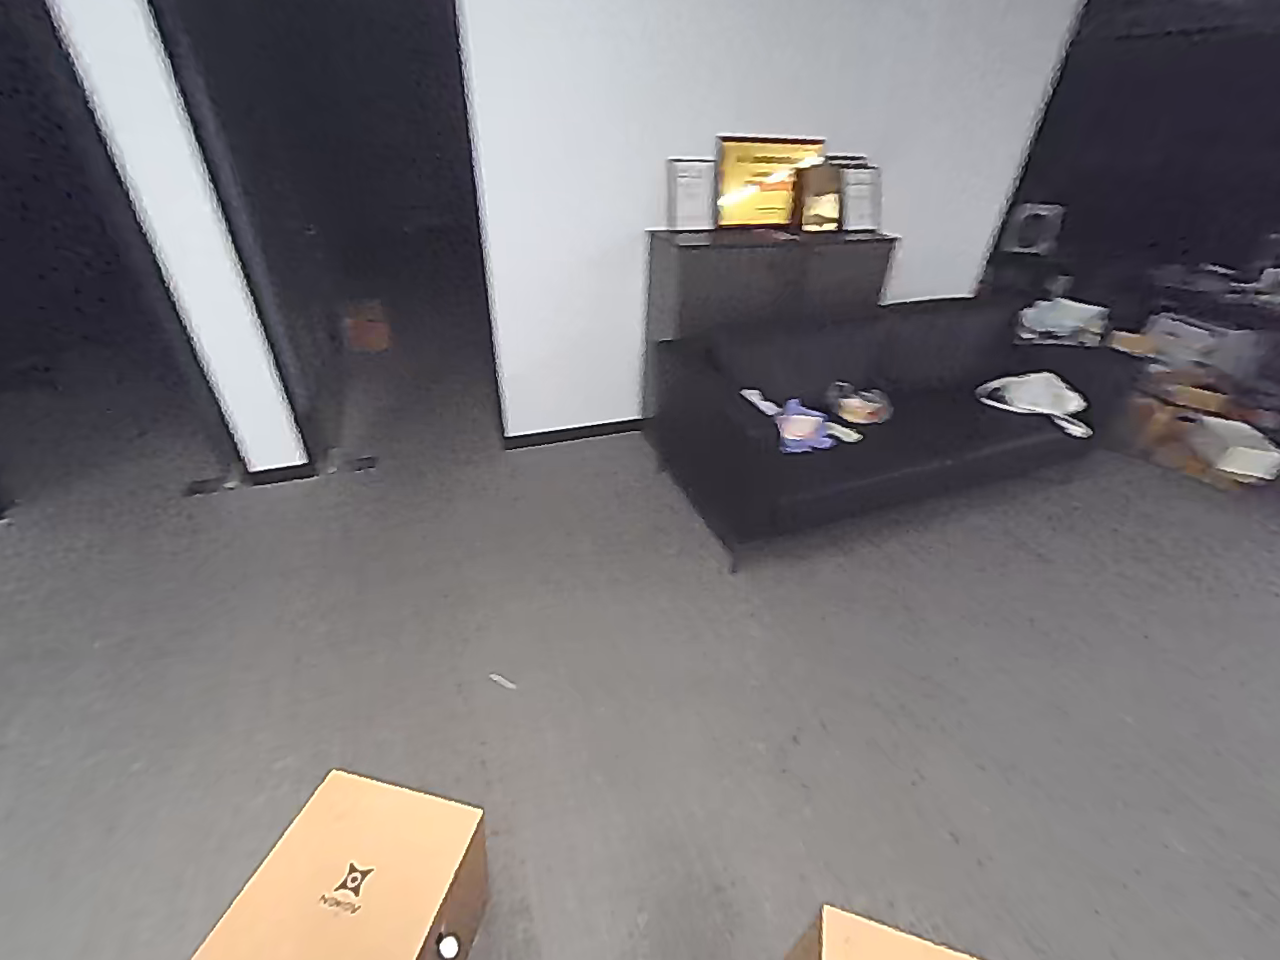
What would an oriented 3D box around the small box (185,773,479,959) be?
[{"bbox_3d":[-0.262,0.418,0.498,0.168,0.176,0.179,11,30,6],"label":"small box"}]
